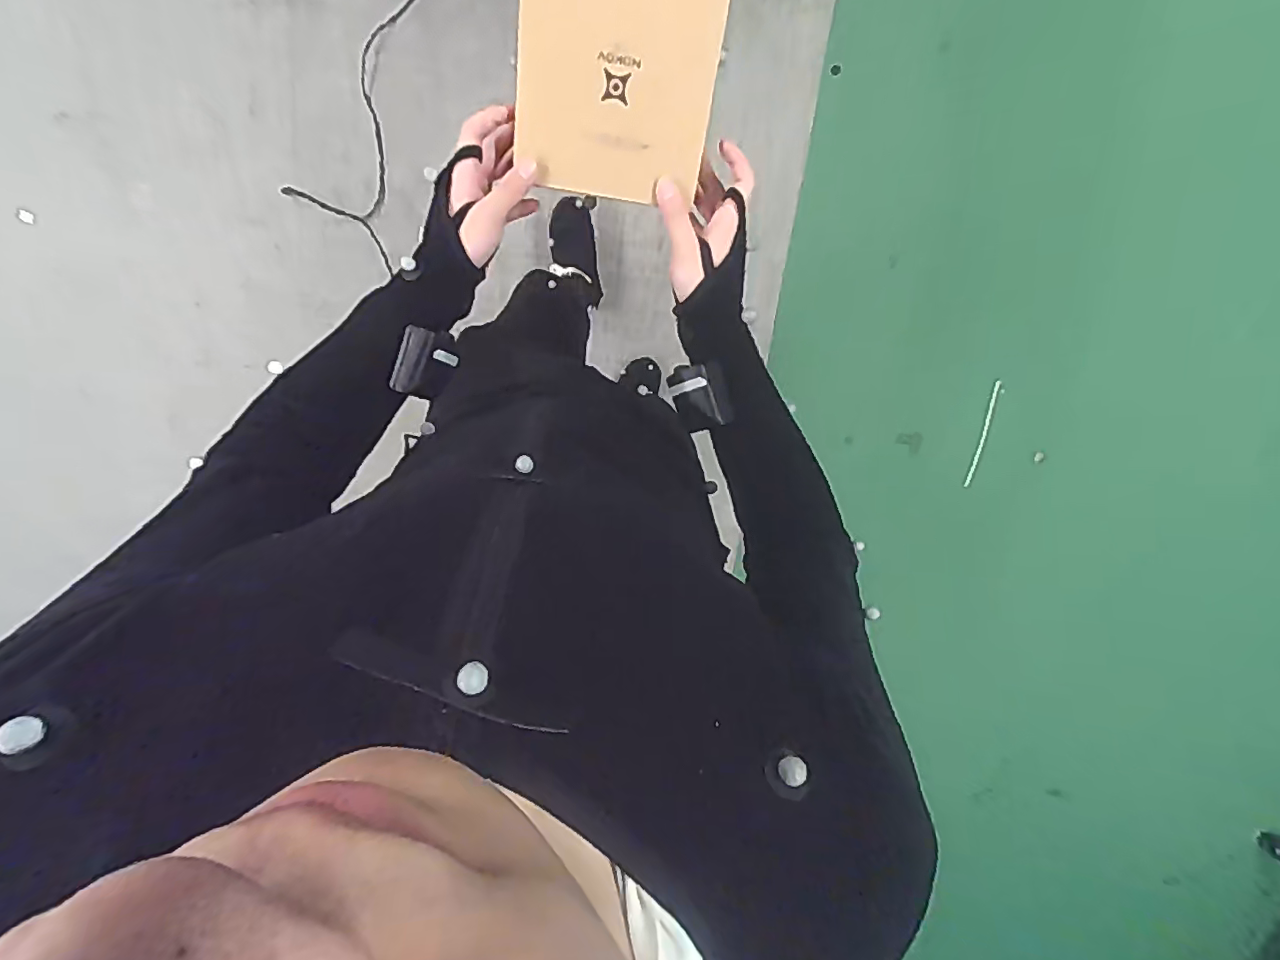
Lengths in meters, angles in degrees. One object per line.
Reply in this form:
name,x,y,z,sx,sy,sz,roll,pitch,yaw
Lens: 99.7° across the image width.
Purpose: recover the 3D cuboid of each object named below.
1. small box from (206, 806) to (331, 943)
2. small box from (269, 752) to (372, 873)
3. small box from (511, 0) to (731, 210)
small box,-0.808,0.859,1.192,0.168,0.176,0.179,9,105,-1
small box,-0.798,0.825,1.353,0.168,0.176,0.179,14,104,-2
small box,-0.022,-0.371,0.516,0.168,0.176,0.179,7,119,-5
